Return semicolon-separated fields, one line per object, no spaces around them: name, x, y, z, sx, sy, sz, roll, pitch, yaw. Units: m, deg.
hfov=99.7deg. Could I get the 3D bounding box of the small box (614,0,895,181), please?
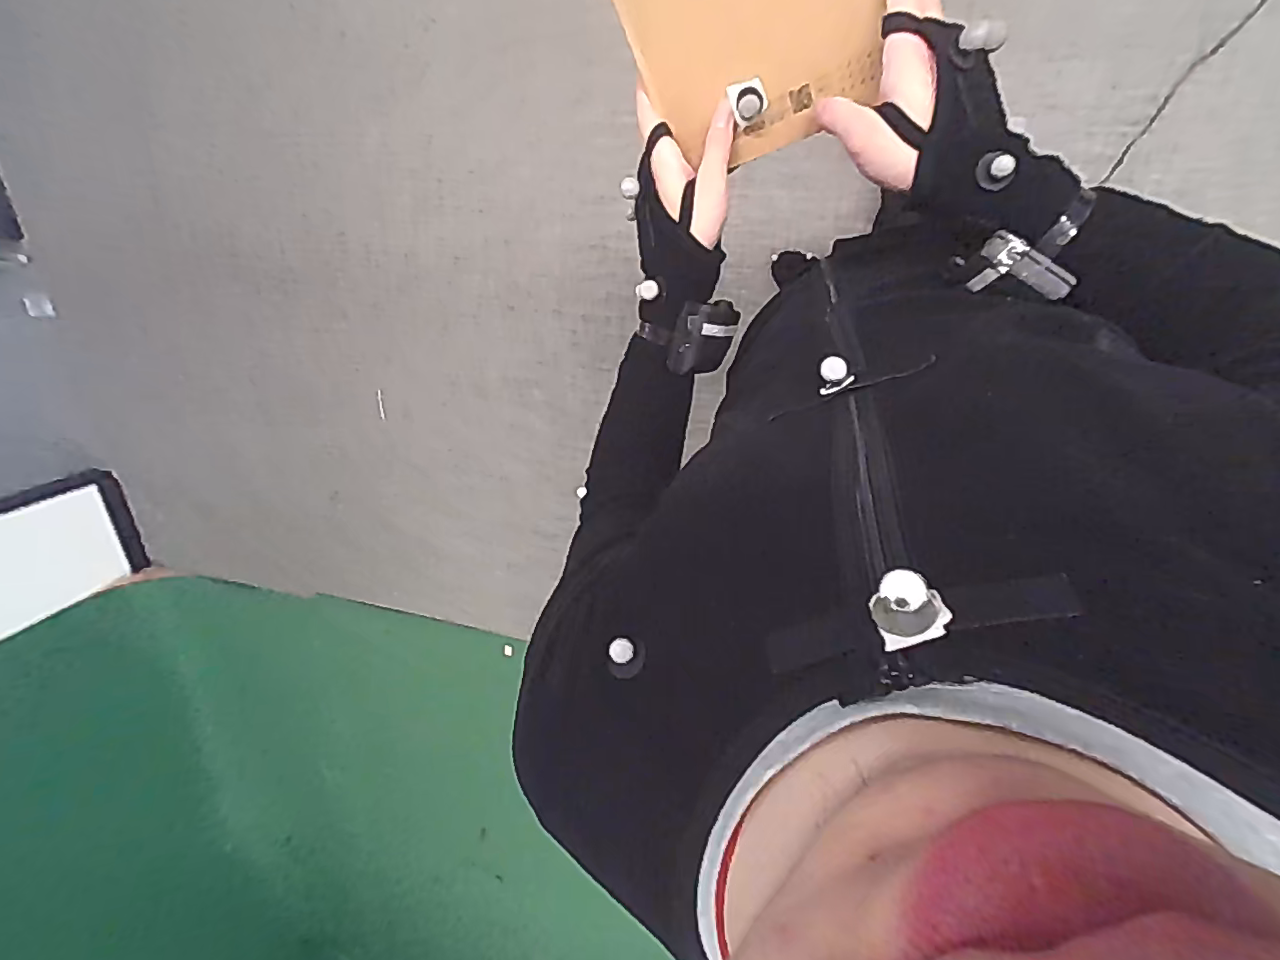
small box;0.092;-0.364;0.418;0.168;0.179;0.176;-9;130;31
